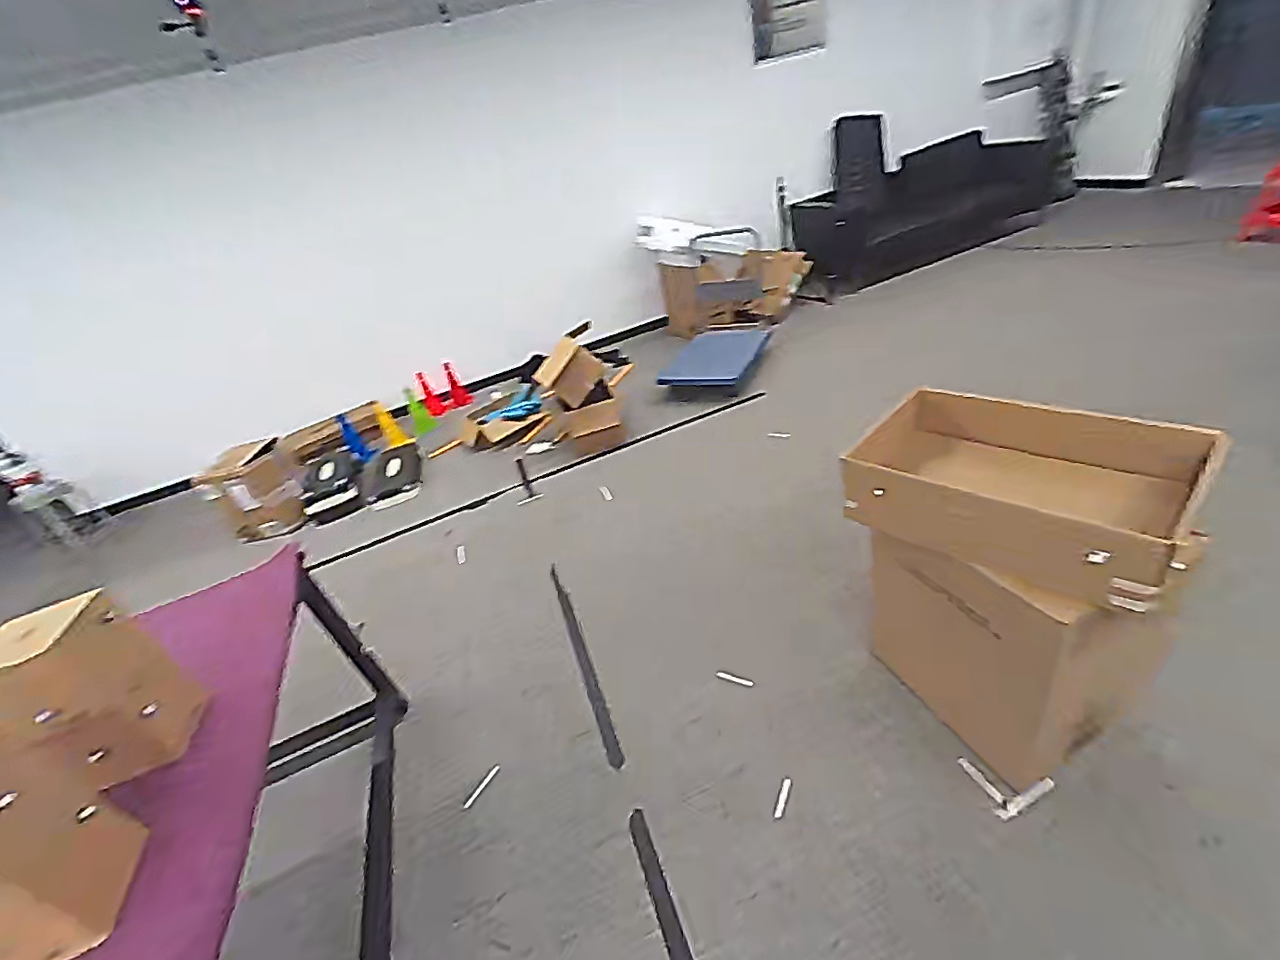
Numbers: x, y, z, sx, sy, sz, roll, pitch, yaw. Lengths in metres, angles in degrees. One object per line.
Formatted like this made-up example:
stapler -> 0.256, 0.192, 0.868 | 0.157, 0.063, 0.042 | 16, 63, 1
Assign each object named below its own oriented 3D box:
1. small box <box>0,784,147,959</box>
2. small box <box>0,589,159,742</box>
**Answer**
small box -> -0.920, 0.623, 0.827 | 0.168, 0.176, 0.179 | -23, 32, -13
small box -> -1.059, 0.342, 1.006 | 0.168, 0.176, 0.179 | -21, 32, -8
